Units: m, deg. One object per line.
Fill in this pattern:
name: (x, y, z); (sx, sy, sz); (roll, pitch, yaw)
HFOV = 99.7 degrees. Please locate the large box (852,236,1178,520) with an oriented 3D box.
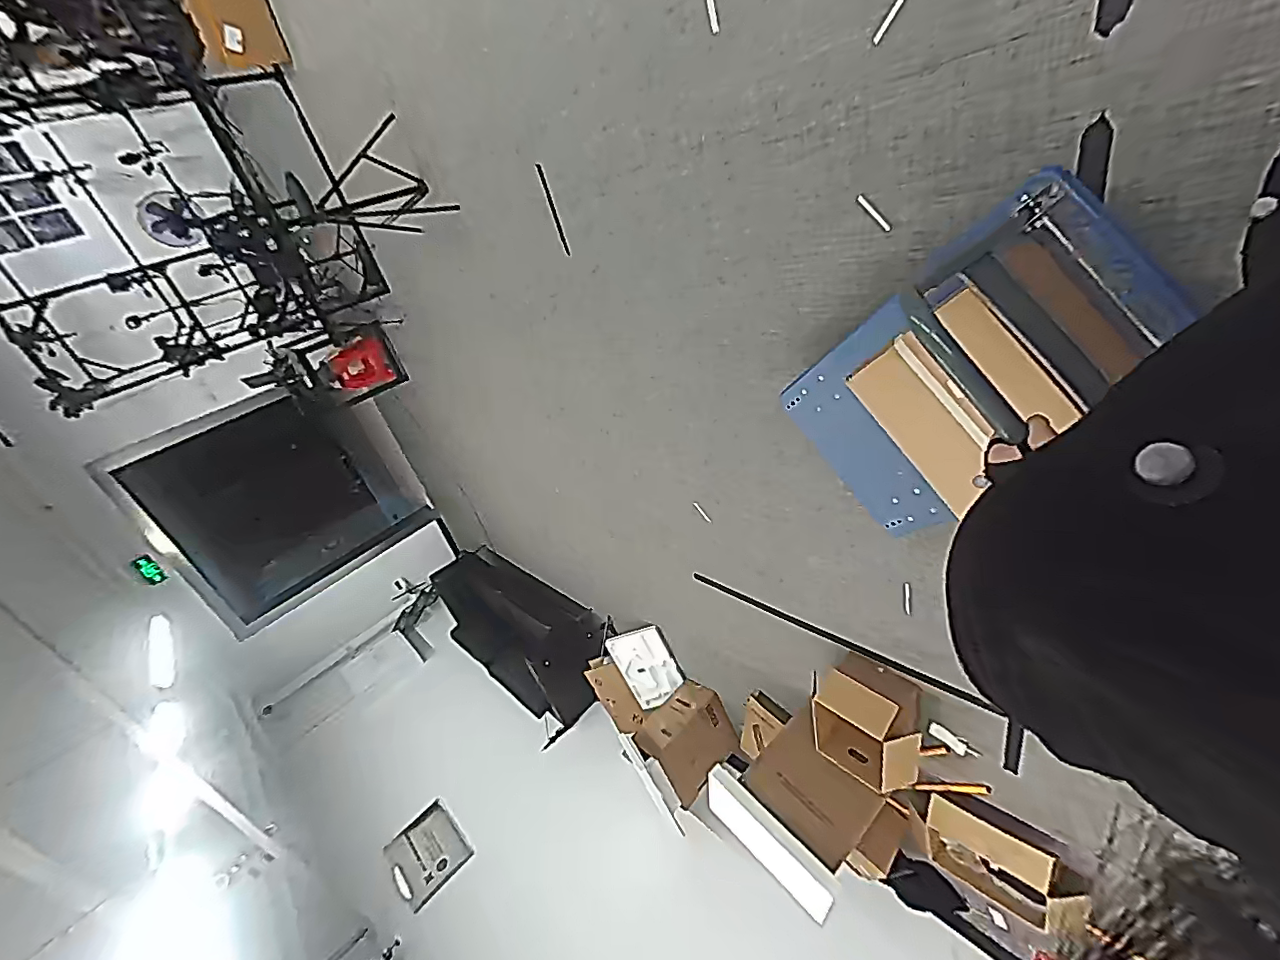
large box: (0.734, -0.196, 1.085); (0.408, 0.320, 0.320); (52, 149, 5)
